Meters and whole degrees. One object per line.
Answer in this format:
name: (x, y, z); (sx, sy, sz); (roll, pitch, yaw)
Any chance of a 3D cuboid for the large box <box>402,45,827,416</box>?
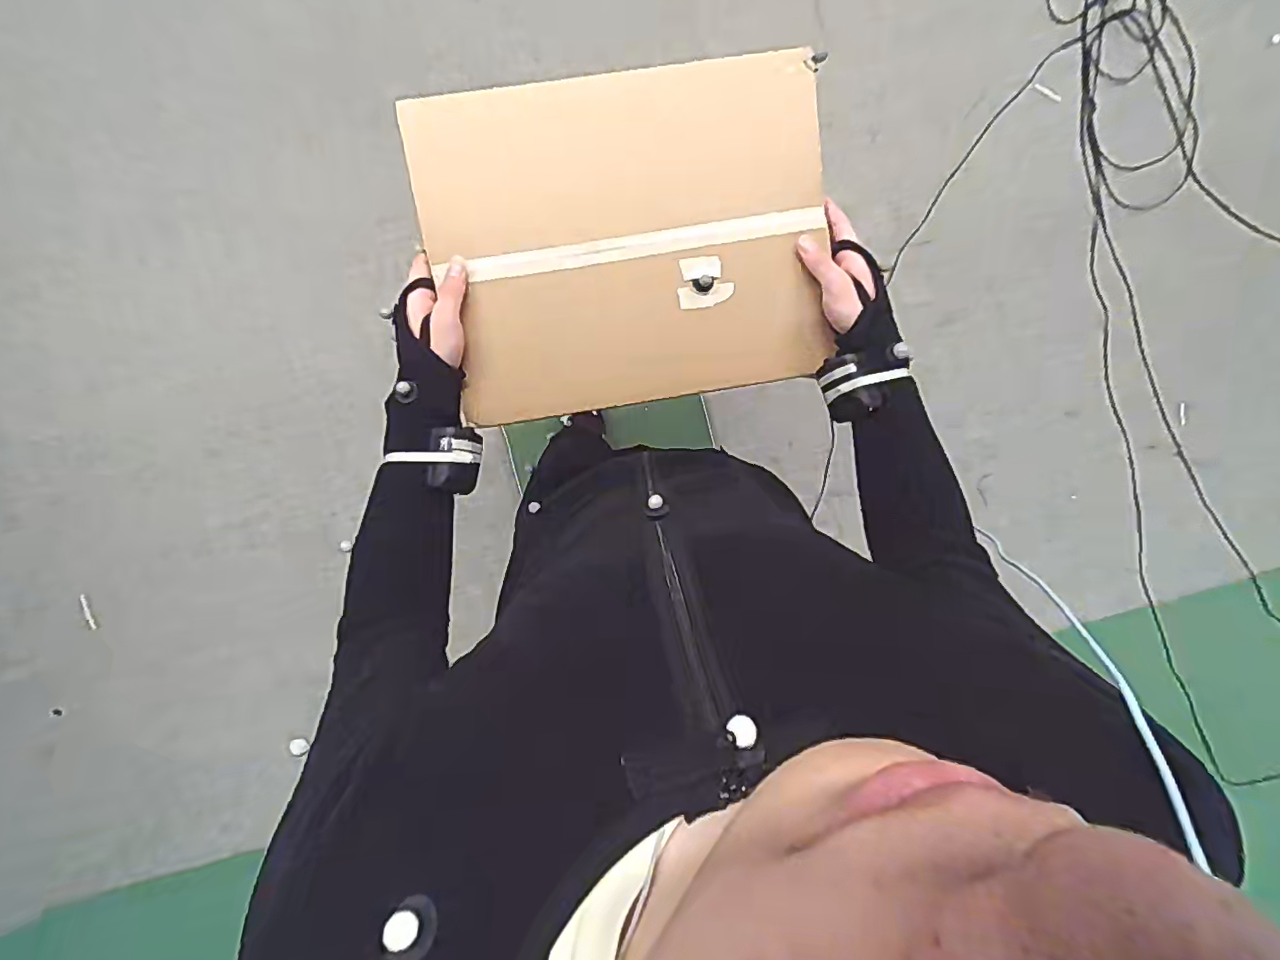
large box: (-0.026, -0.278, 0.702); (0.408, 0.320, 0.320); (-10, 103, -4)
